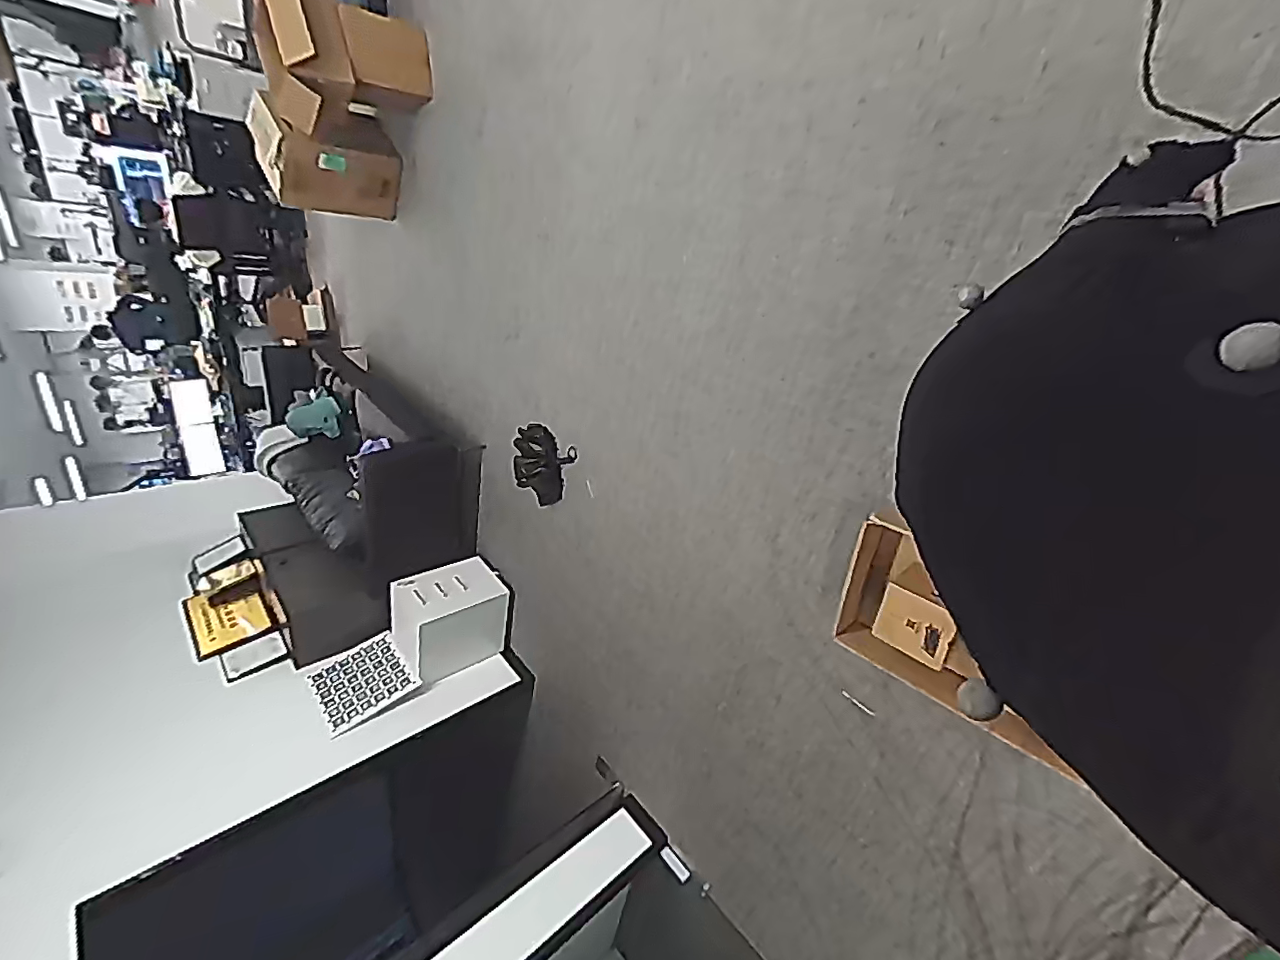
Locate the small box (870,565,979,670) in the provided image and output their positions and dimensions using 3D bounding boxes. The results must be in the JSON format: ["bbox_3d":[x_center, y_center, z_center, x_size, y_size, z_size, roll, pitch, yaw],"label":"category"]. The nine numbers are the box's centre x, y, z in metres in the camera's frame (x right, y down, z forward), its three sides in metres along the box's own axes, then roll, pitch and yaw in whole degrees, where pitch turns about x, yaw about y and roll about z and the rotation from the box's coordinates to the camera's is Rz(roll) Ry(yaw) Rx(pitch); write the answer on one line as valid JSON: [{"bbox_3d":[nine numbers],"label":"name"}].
[{"bbox_3d":[0.727,0.340,1.379,0.179,0.176,0.168,29,122,40],"label":"small box"}]
